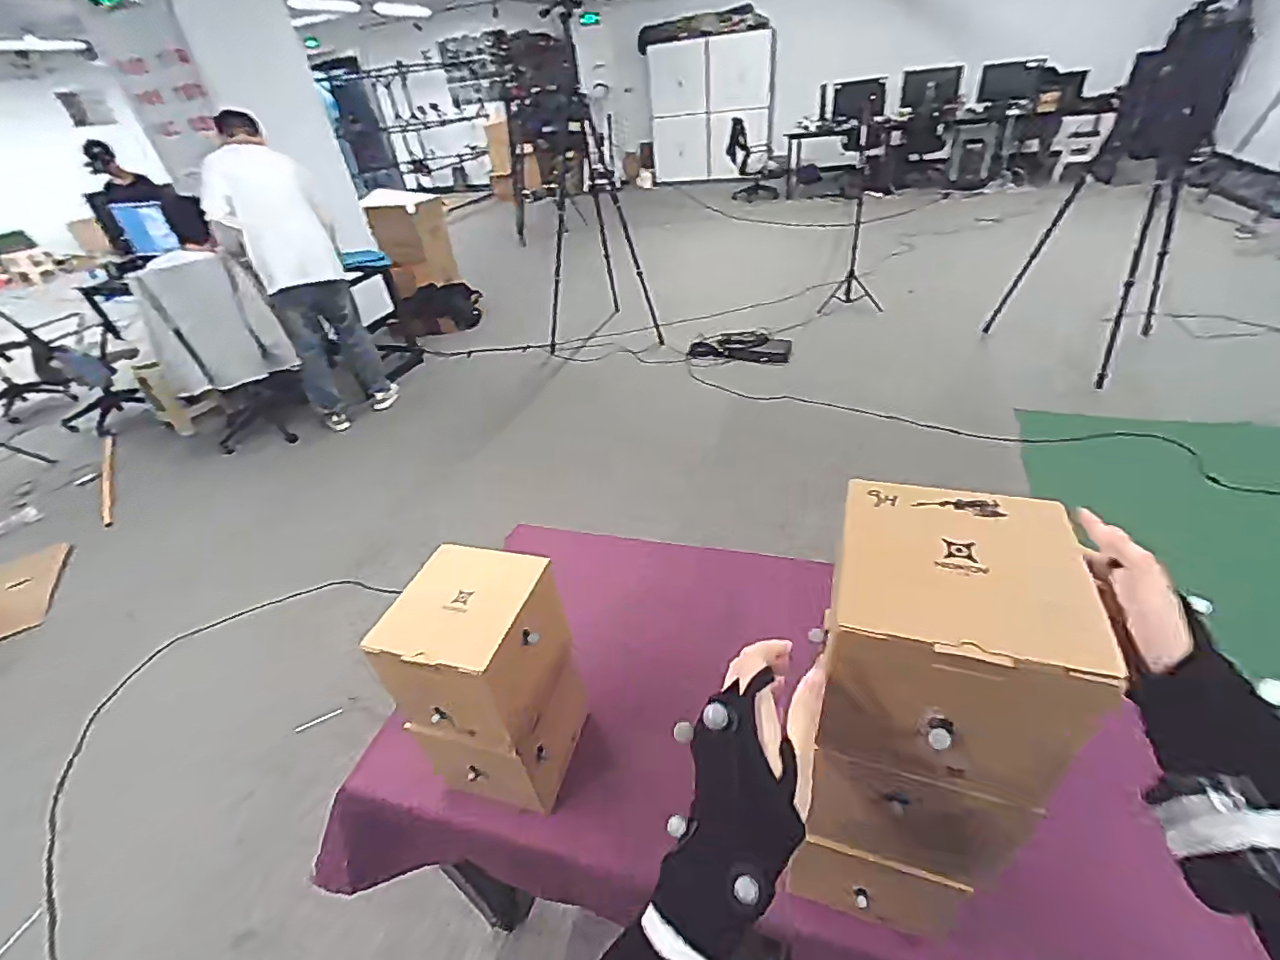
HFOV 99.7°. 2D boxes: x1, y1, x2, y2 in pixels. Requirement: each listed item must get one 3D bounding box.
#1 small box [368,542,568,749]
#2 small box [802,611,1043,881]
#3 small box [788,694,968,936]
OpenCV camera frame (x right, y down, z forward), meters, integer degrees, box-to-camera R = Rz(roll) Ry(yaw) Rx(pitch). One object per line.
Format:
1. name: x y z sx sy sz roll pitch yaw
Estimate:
1. small box: -0.204 0.209 0.702 0.168 0.176 0.179 6 39 17
2. small box: 0.266 0.264 0.548 0.179 0.176 0.168 9 40 19
3. small box: 0.274 0.396 0.647 0.168 0.176 0.179 8 39 19
